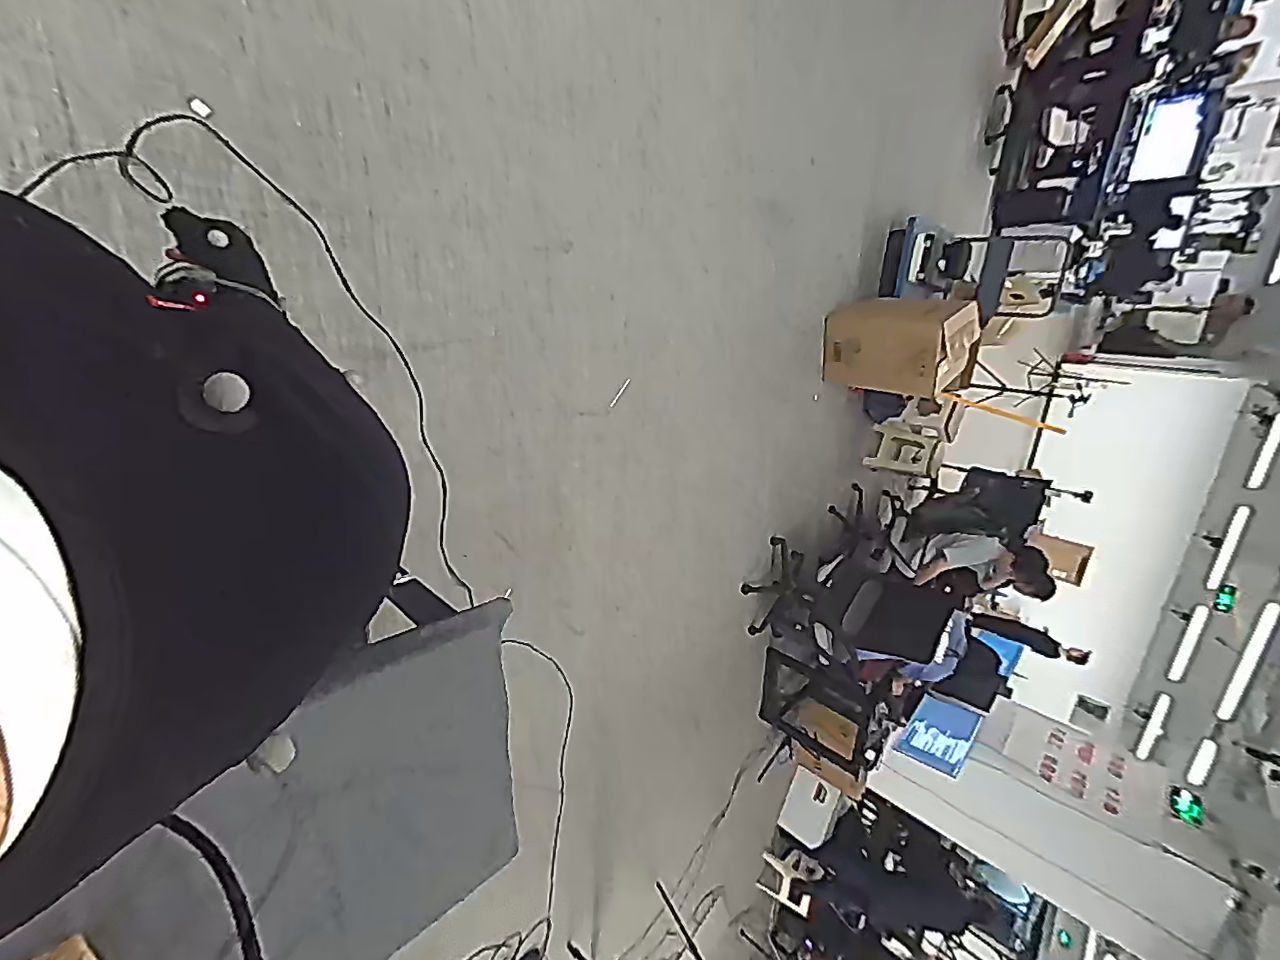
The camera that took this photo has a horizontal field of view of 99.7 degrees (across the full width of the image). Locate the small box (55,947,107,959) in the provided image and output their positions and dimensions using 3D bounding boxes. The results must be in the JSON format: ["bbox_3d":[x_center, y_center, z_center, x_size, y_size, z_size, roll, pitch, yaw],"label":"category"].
[{"bbox_3d":[-0.661,0.663,0.575,0.168,0.176,0.179,-21,120,-42],"label":"small box"}]
